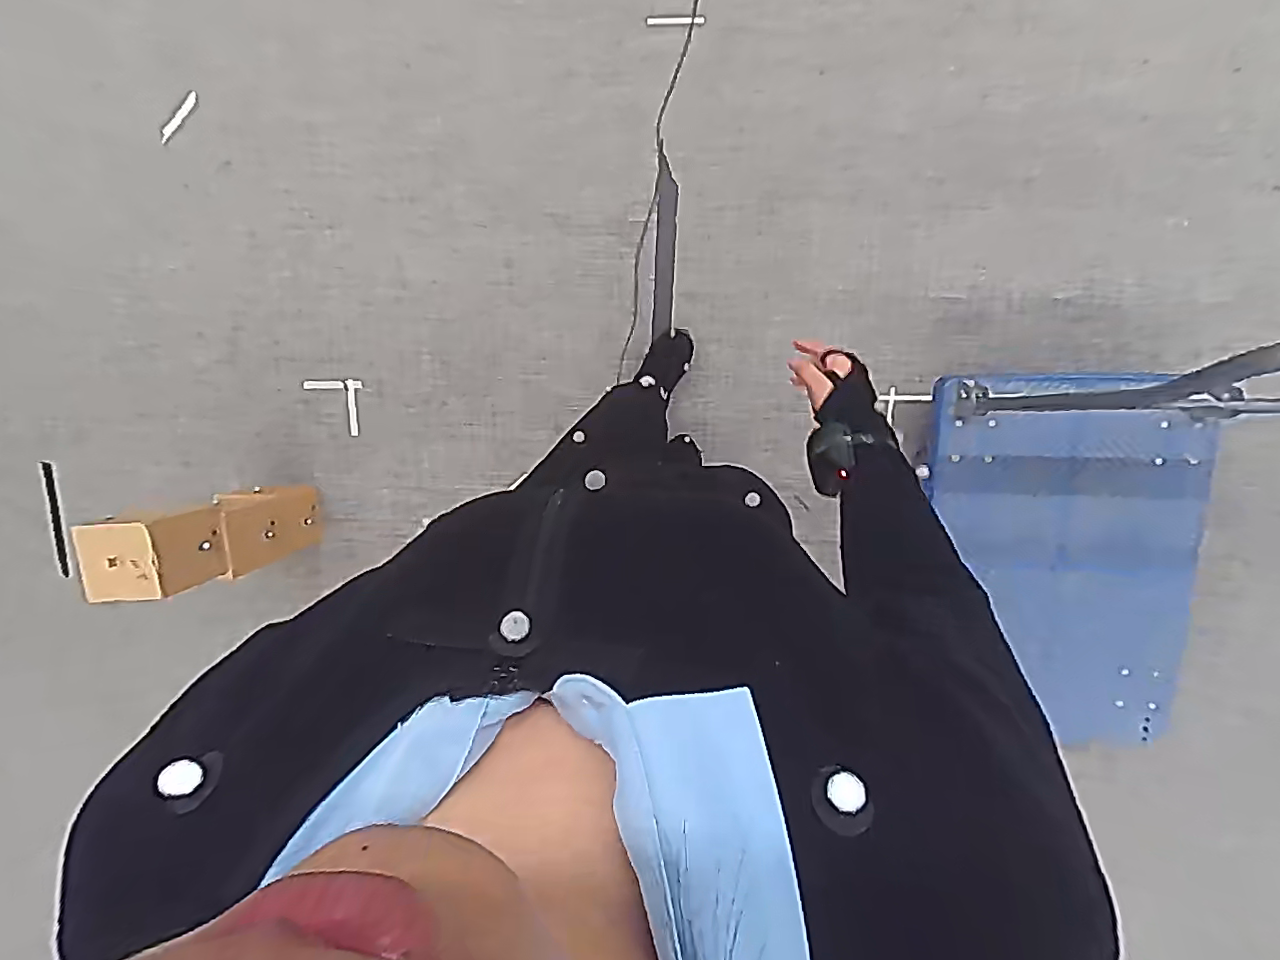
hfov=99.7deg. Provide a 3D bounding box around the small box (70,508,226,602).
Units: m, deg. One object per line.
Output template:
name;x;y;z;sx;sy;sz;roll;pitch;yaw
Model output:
small box;-1.061;0.159;1.180;0.179;0.176;0.168;-3;99;4

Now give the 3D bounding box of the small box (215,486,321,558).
small box;-1.028;0.111;1.505;0.179;0.176;0.168;1;99;4
